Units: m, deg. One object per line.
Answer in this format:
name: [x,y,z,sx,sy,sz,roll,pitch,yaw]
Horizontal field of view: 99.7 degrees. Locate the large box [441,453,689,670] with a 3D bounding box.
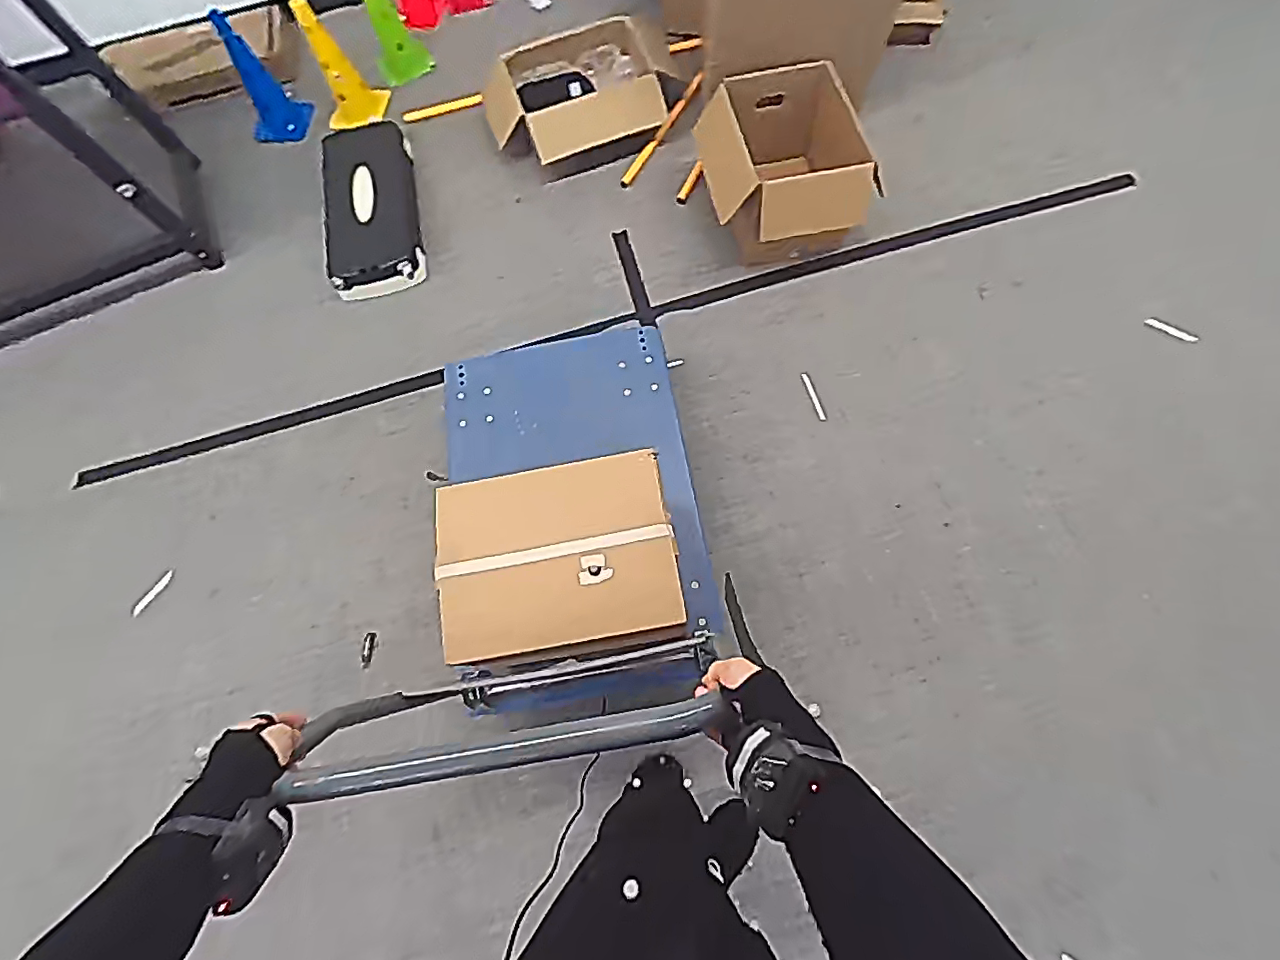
large box: [-0.133,0.180,1.075,0.408,0.320,0.320,-11,71,0]
